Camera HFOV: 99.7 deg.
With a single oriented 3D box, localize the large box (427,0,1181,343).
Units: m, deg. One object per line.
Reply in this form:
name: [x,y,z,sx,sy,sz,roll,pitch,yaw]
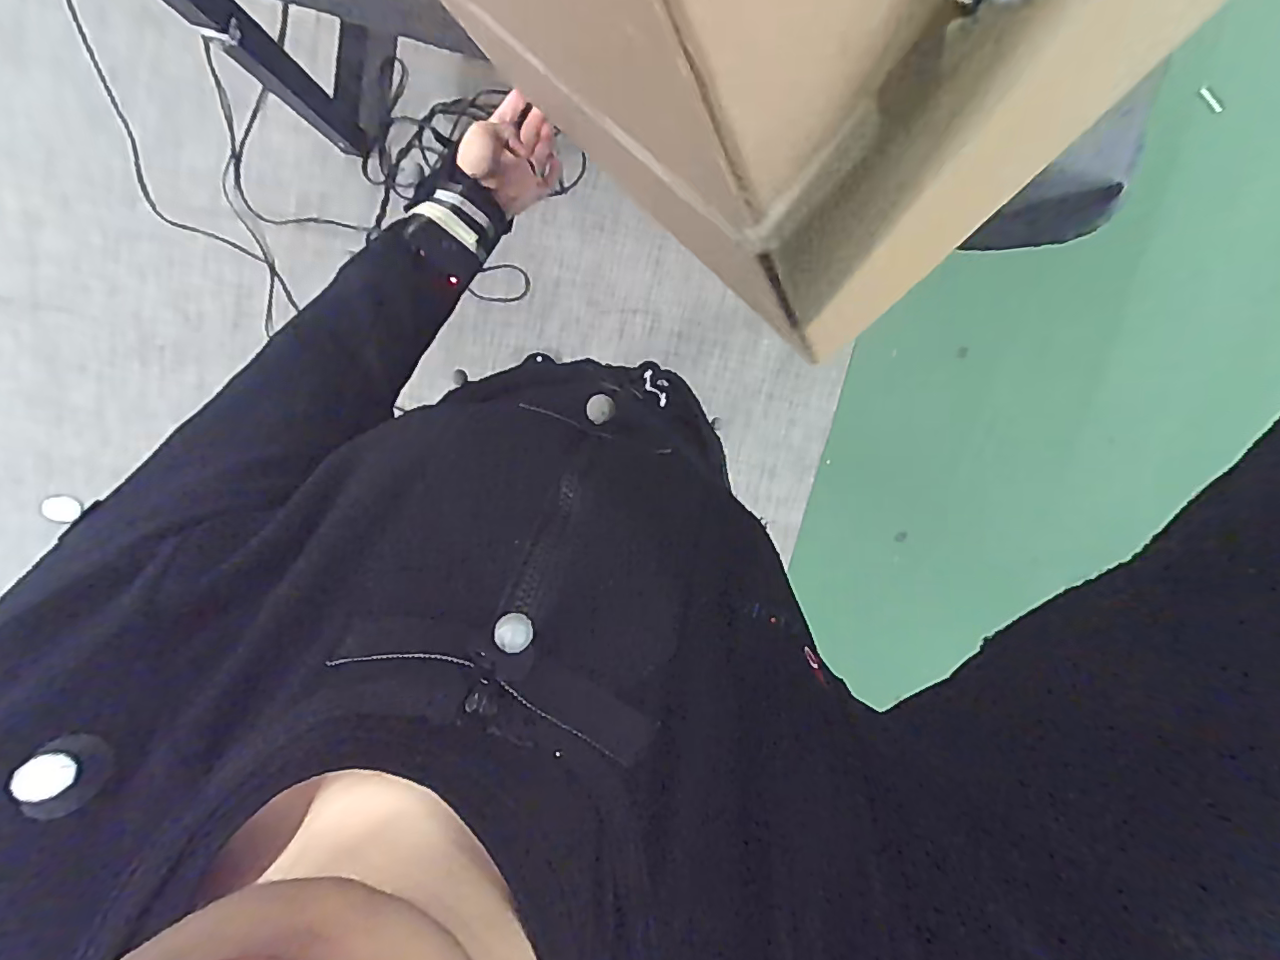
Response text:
large box: [0.043,-0.340,0.257,0.320,0.320,0.408,-46,67,13]
